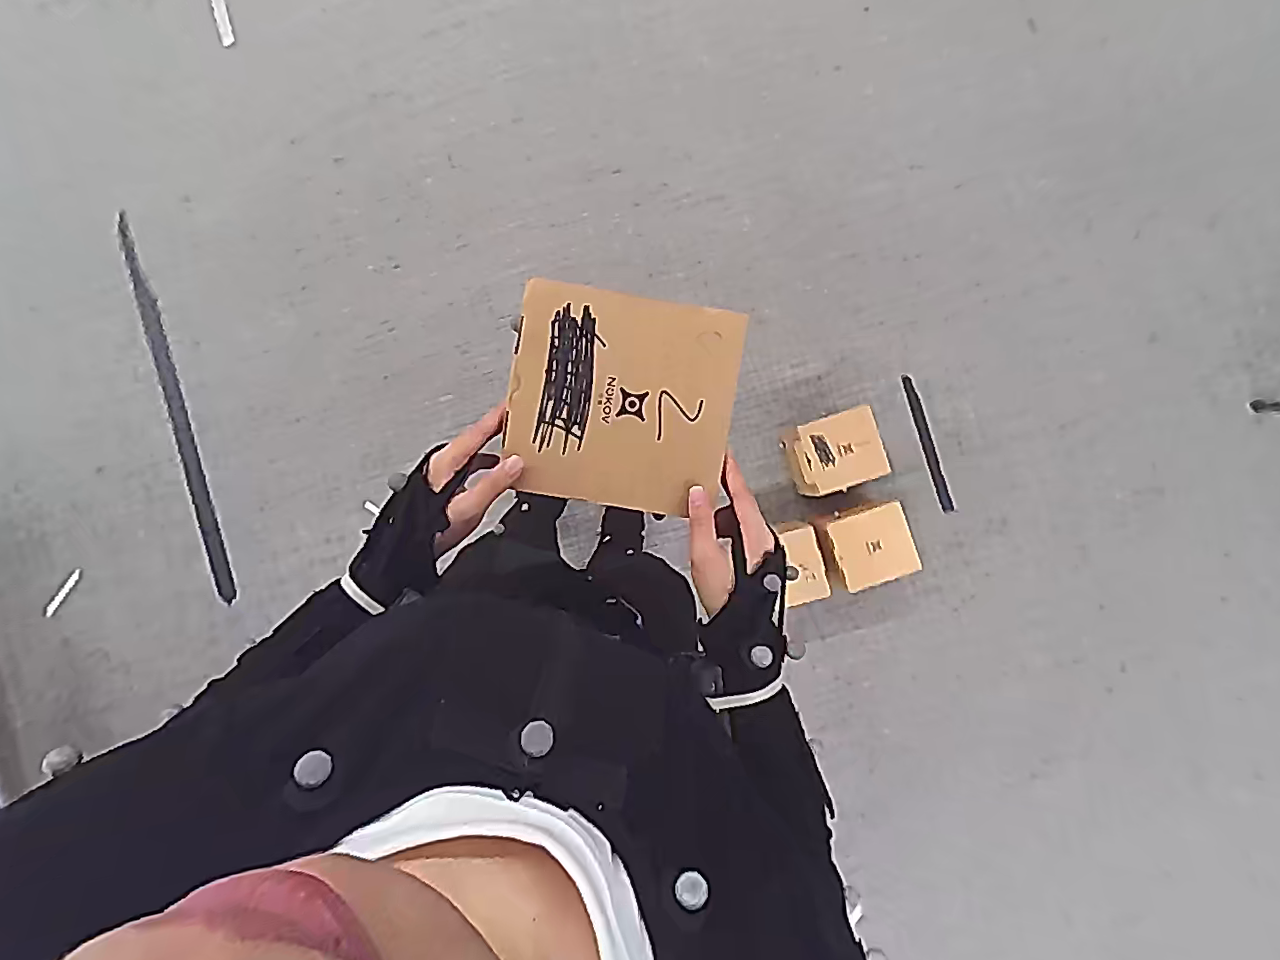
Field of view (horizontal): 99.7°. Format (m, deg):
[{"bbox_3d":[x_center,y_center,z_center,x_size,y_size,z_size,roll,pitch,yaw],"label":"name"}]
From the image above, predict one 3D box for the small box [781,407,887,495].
[{"bbox_3d":[0.455,-0.064,1.303,0.179,0.176,0.168,-18,90,-1],"label":"small box"}]
